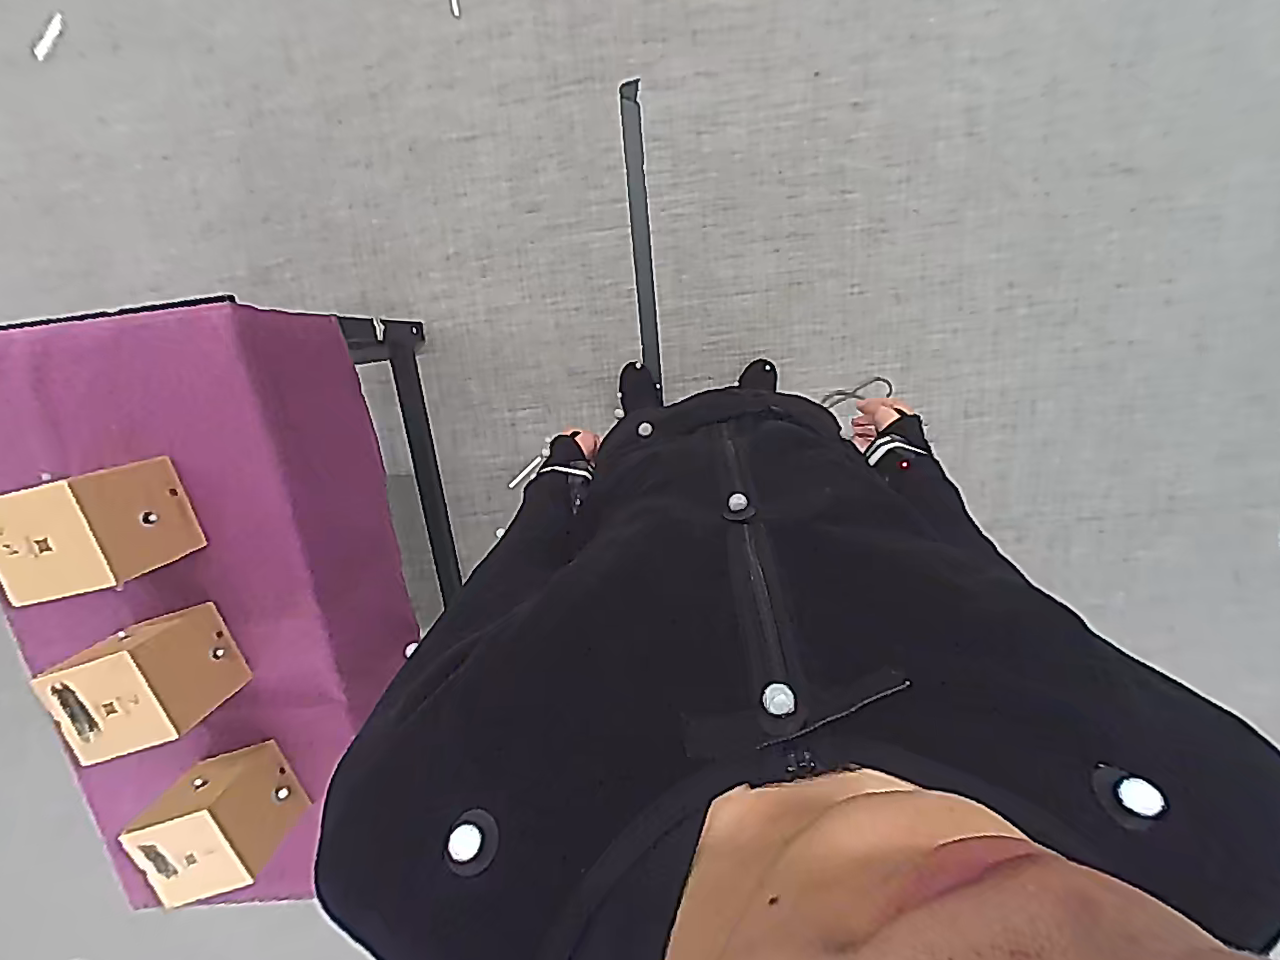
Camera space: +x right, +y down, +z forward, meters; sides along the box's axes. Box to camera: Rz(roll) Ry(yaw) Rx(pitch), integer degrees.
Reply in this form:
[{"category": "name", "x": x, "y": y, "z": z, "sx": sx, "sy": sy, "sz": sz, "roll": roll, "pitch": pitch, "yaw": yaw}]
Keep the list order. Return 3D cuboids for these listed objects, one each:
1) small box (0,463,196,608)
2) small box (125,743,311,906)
[{"category": "small box", "x": -0.864, "y": 0.079, "z": 0.861, "sx": 0.179, "sy": 0.176, "sz": 0.168, "roll": -12, "pitch": 103, "yaw": 6}, {"category": "small box", "x": -0.763, "y": 0.626, "z": 0.998, "sx": 0.179, "sy": 0.176, "sz": 0.168, "roll": -19, "pitch": 103, "yaw": 6}]
